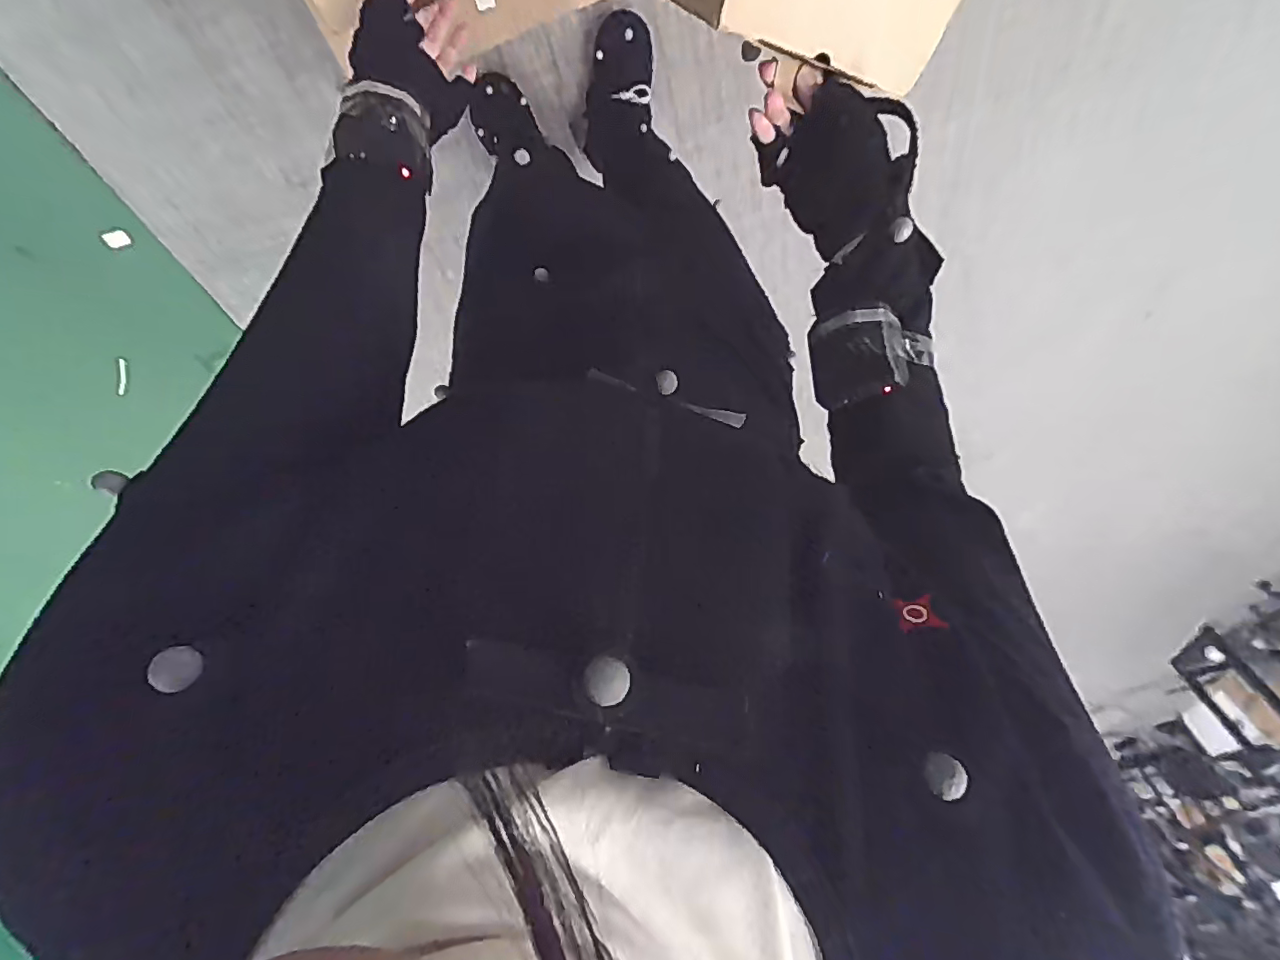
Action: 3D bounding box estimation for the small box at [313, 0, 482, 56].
[{"bbox_3d":[-0.223,-0.514,0.462,0.168,0.176,0.179,-18,139,7],"label":"small box"}]

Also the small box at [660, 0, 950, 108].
[{"bbox_3d":[0.114,-0.392,0.358,0.168,0.176,0.179,-3,139,-25],"label":"small box"}]
